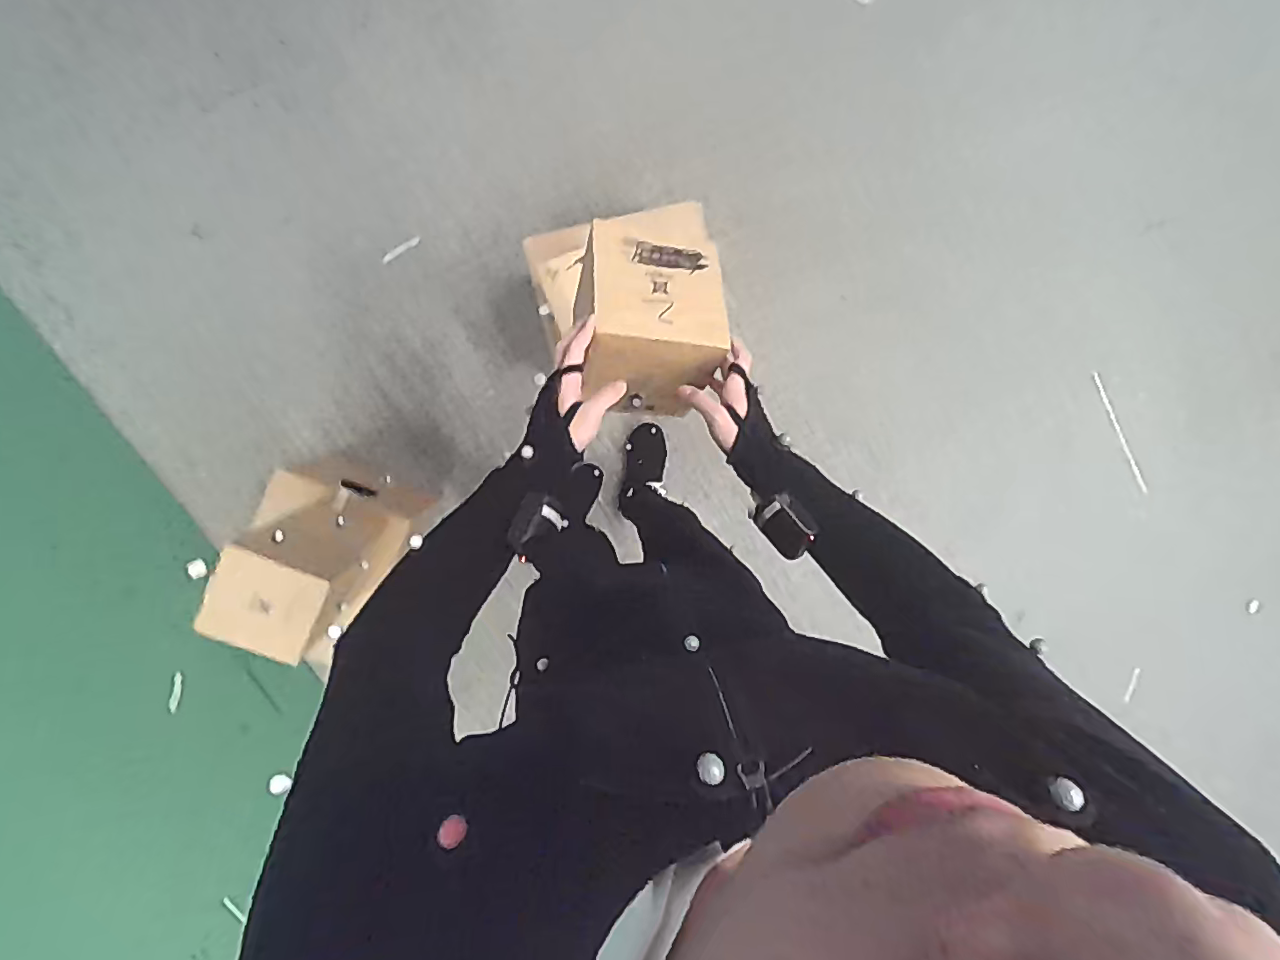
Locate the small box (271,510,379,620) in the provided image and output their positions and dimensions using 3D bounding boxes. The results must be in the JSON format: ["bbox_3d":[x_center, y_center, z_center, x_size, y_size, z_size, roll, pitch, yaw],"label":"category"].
[{"bbox_3d":[-0.673,0.179,1.131,0.168,0.176,0.179,23,95,-10],"label":"small box"}]

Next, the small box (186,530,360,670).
[{"bbox_3d":[-0.645,0.204,0.973,0.179,0.176,0.168,25,95,-11],"label":"small box"}]

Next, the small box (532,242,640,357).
[{"bbox_3d":[-0.112,-0.365,1.125,0.168,0.176,0.179,-22,102,-4],"label":"small box"}]

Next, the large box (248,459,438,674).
[{"bbox_3d":[-0.762,0.197,1.373,0.320,0.320,0.408,24,95,-9],"label":"large box"}]
